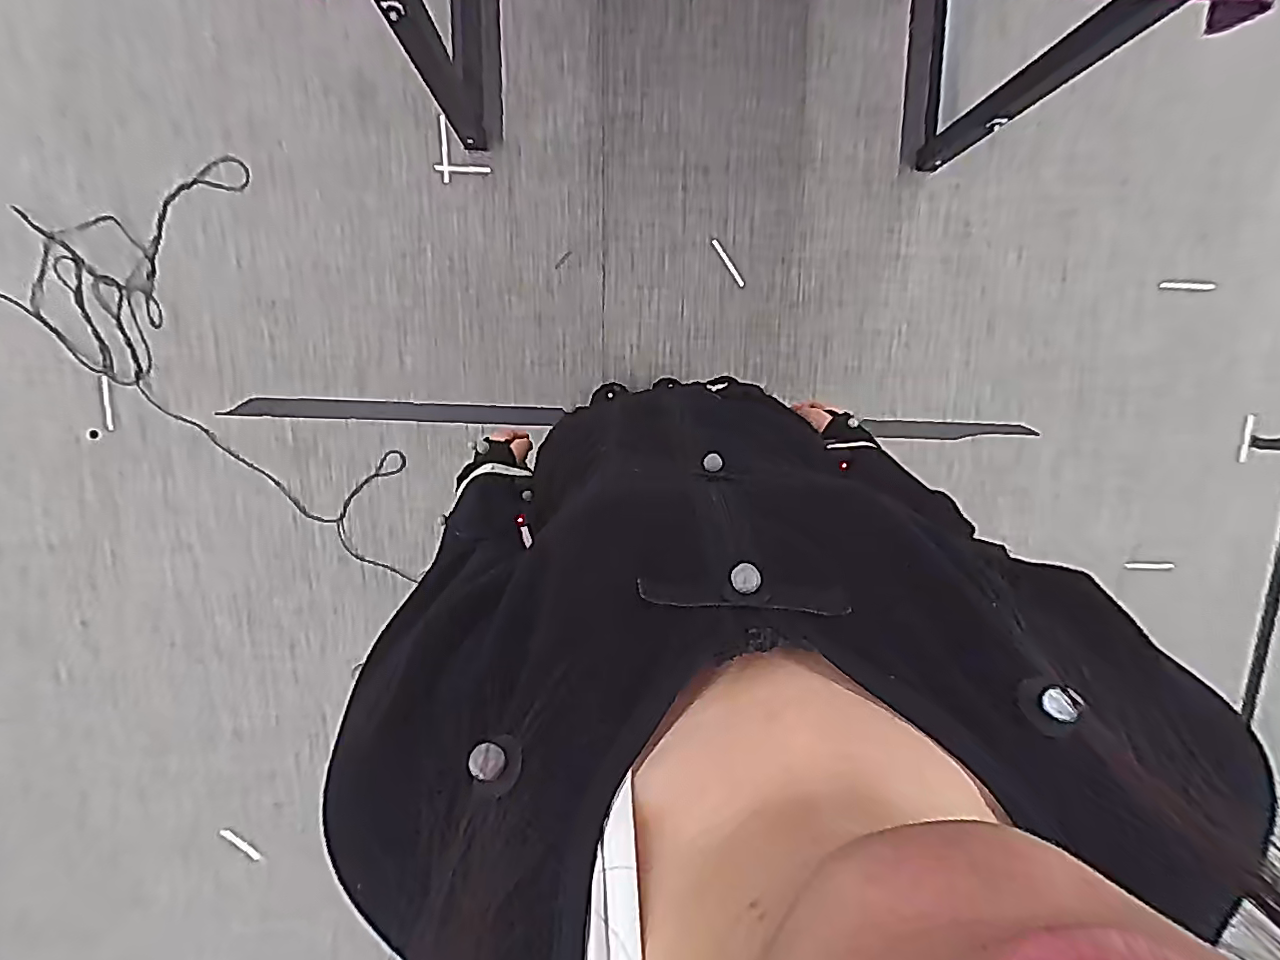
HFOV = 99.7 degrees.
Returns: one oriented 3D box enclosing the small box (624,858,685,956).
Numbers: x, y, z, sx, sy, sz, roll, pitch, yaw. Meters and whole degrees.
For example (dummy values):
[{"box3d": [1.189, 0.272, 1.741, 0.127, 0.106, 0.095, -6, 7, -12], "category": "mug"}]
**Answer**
[{"box3d": [0.038, 1.282, 1.632, 0.168, 0.176, 0.179, 3, 100, -2], "category": "small box"}]
